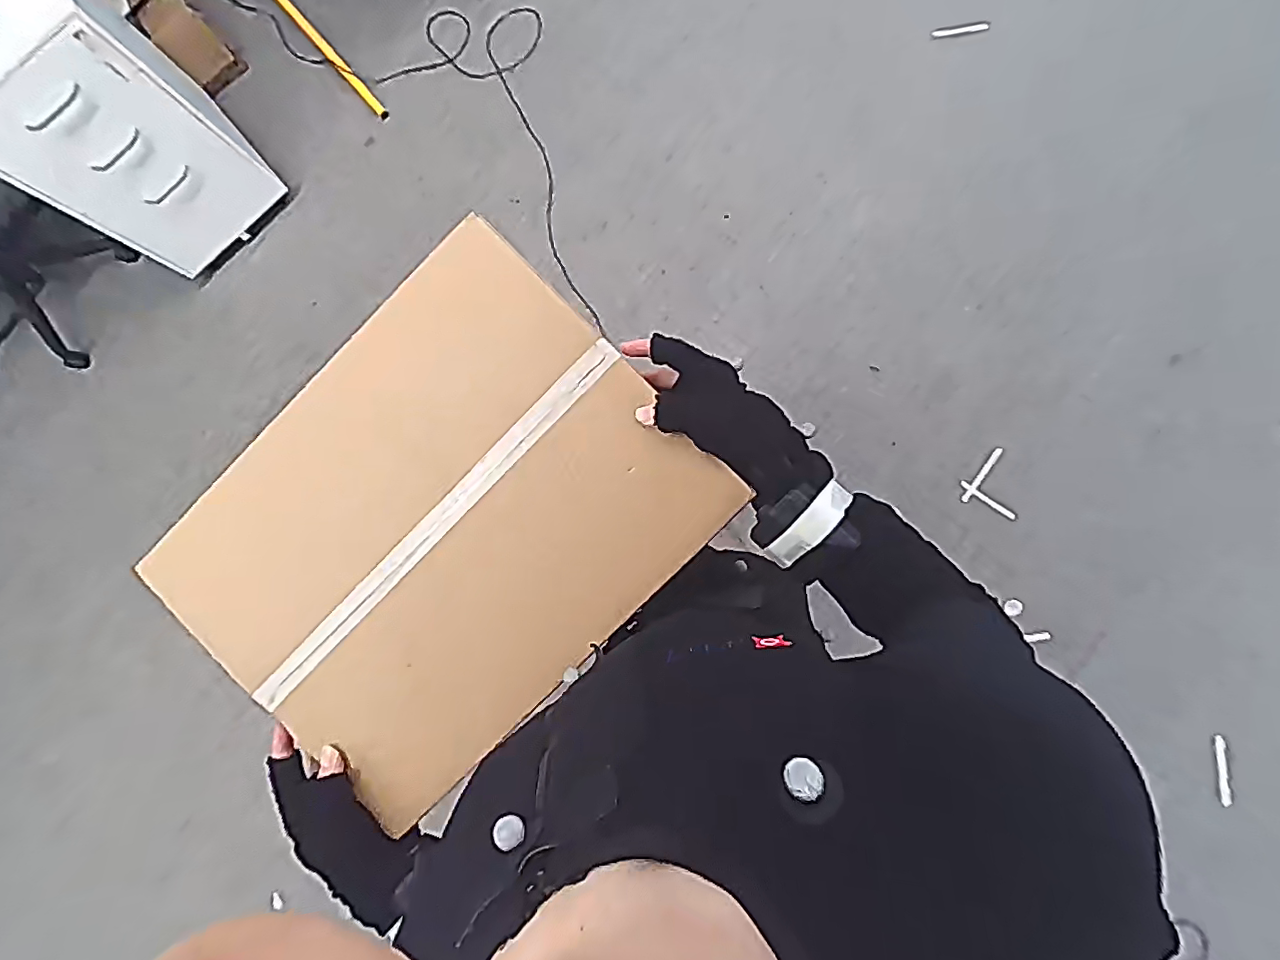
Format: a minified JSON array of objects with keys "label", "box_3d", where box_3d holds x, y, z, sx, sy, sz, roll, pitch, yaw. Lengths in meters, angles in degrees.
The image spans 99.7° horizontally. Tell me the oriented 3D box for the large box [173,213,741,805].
[{"label":"large box","box_3d":[-0.151,0.027,0.593,0.408,0.320,0.320,-44,89,4]}]
